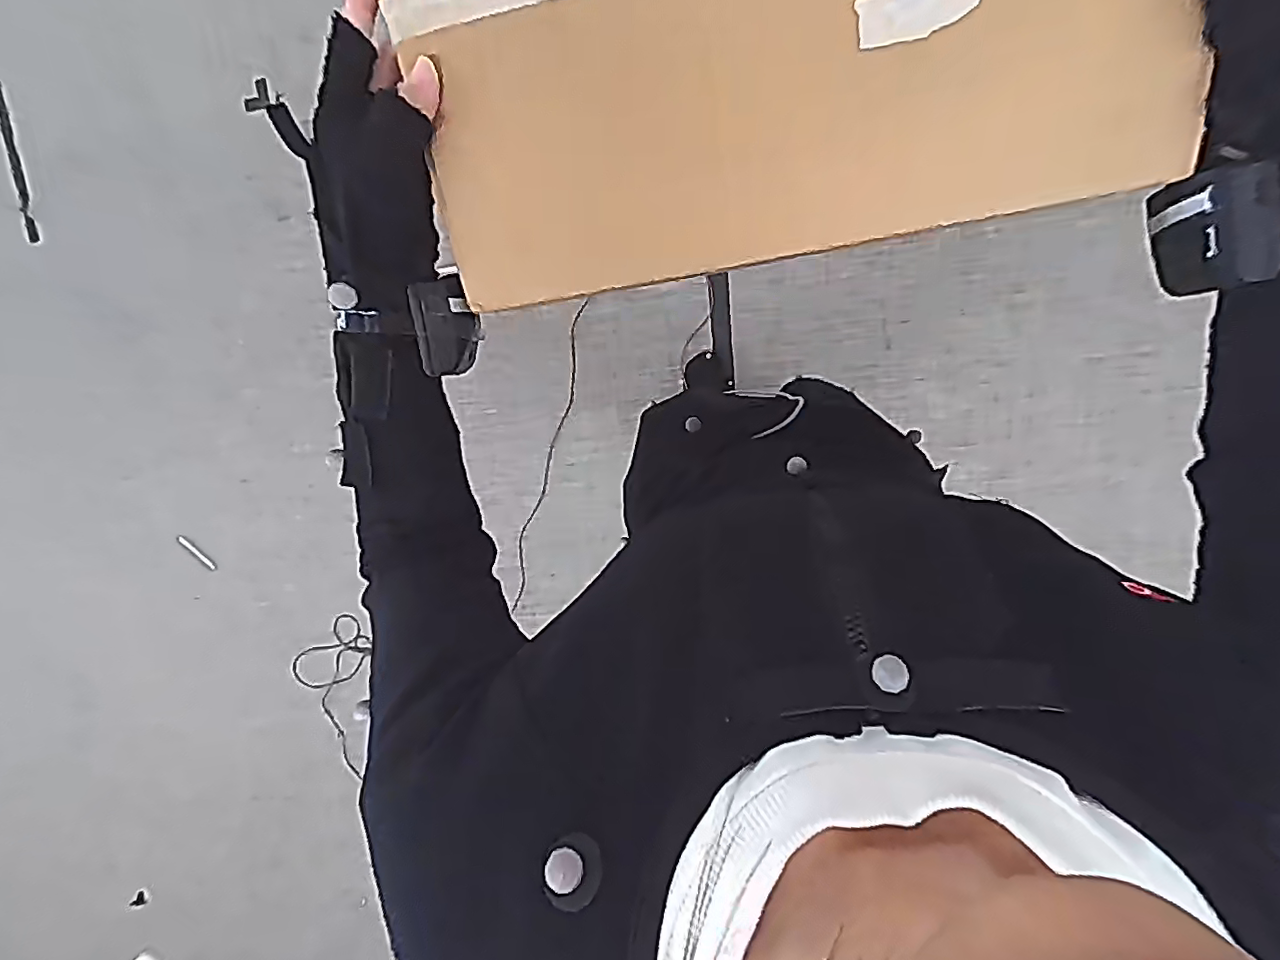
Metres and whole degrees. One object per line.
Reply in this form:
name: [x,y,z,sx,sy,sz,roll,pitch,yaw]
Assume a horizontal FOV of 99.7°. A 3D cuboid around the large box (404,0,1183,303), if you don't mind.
large box: [0.075,-0.338,0.413,0.408,0.320,0.320,-8,111,9]
